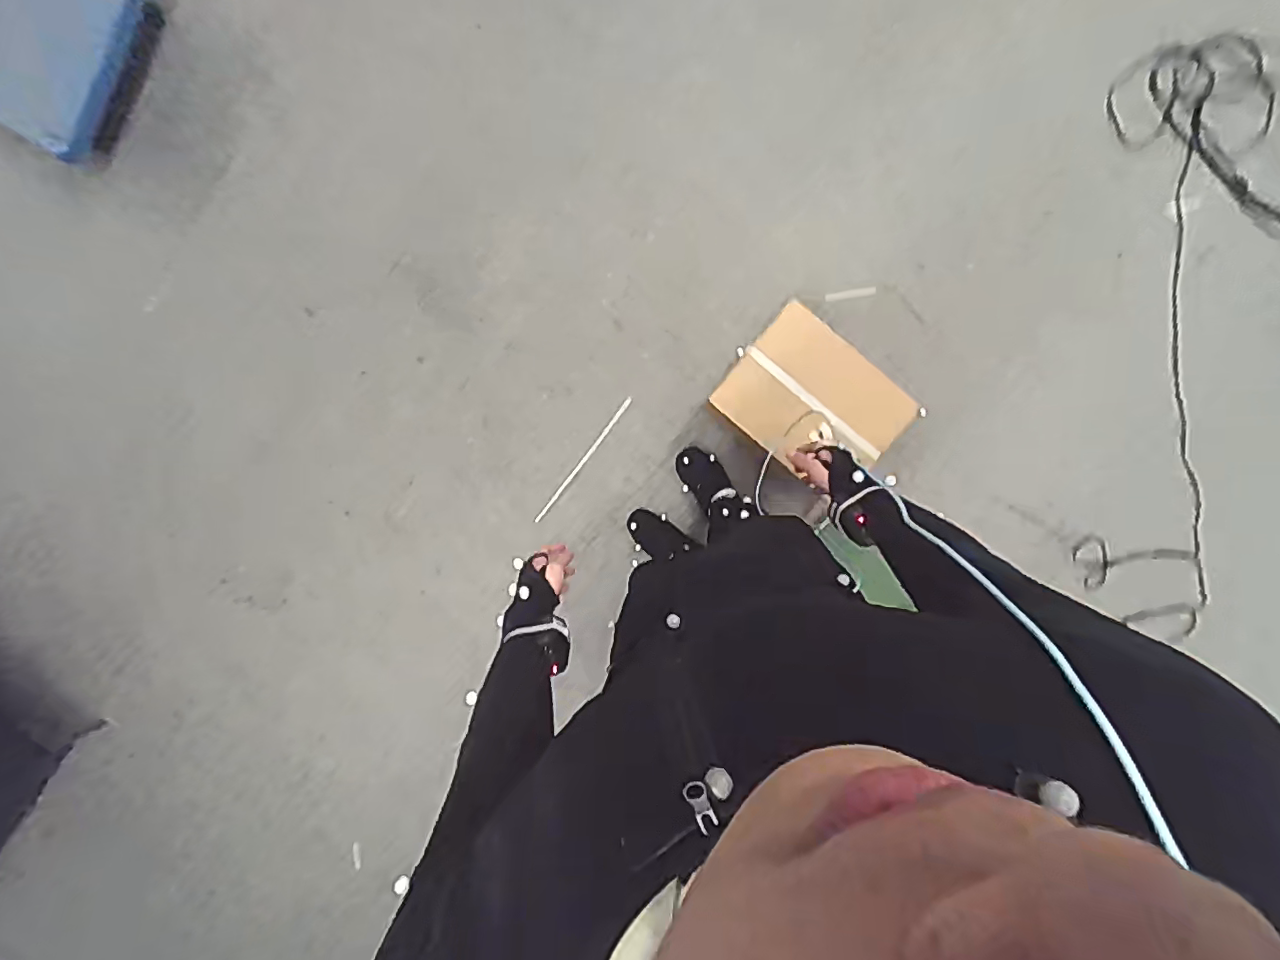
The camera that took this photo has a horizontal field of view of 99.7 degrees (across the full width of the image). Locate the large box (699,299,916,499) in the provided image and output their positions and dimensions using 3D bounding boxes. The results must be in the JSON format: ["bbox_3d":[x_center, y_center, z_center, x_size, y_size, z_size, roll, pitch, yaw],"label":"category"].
[{"bbox_3d":[0.411,-0.204,1.434,0.408,0.320,0.320,39,96,-1],"label":"large box"}]
